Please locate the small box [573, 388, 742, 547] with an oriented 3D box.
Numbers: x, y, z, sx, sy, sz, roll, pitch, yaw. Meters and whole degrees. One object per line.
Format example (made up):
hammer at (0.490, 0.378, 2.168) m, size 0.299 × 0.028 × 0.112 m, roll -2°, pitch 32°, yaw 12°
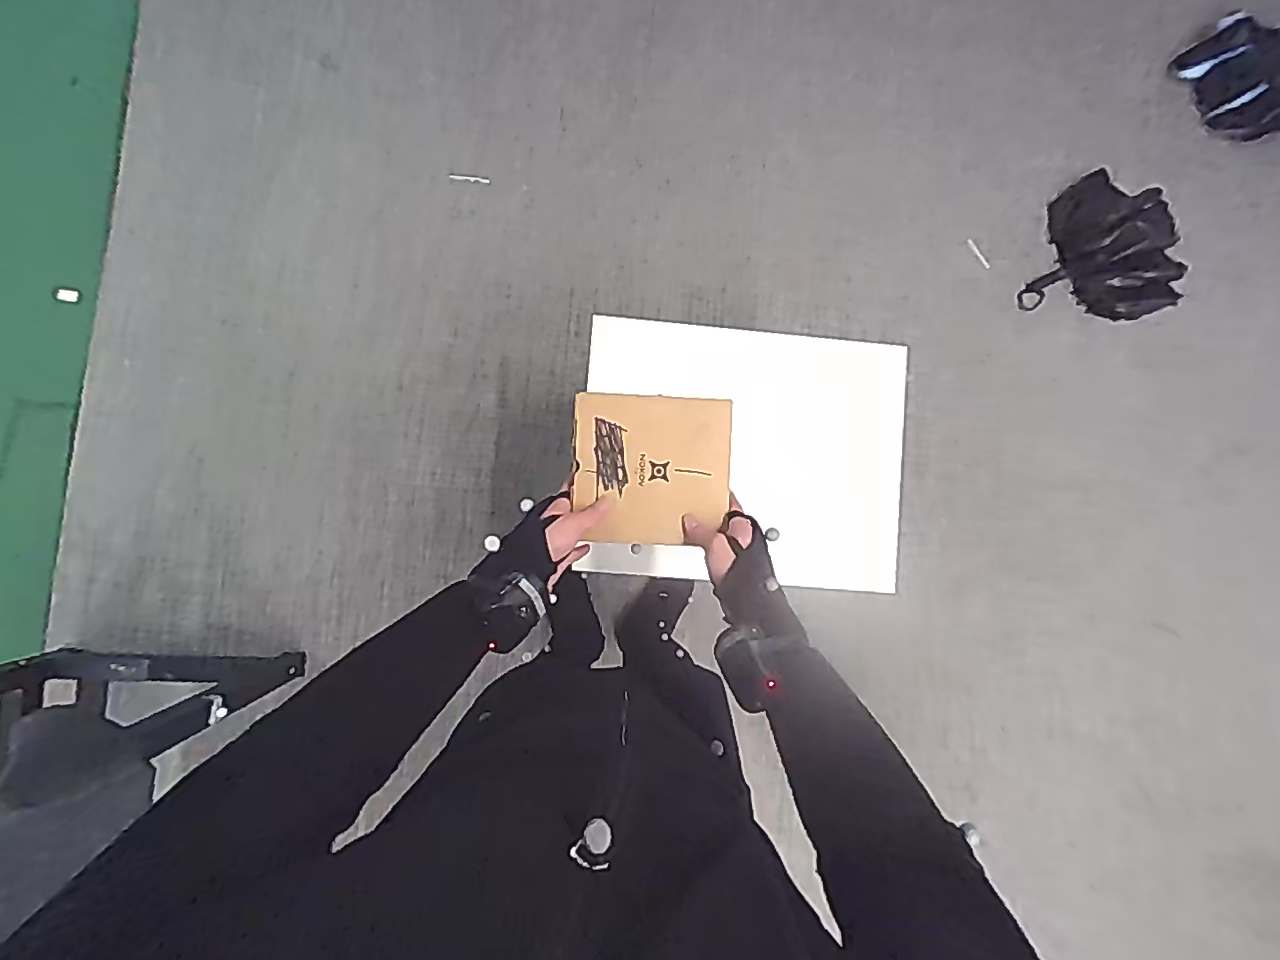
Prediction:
small box at (0.017, -0.010, 0.662) m, size 0.179 × 0.176 × 0.168 m, roll 3°, pitch 88°, yaw -2°
